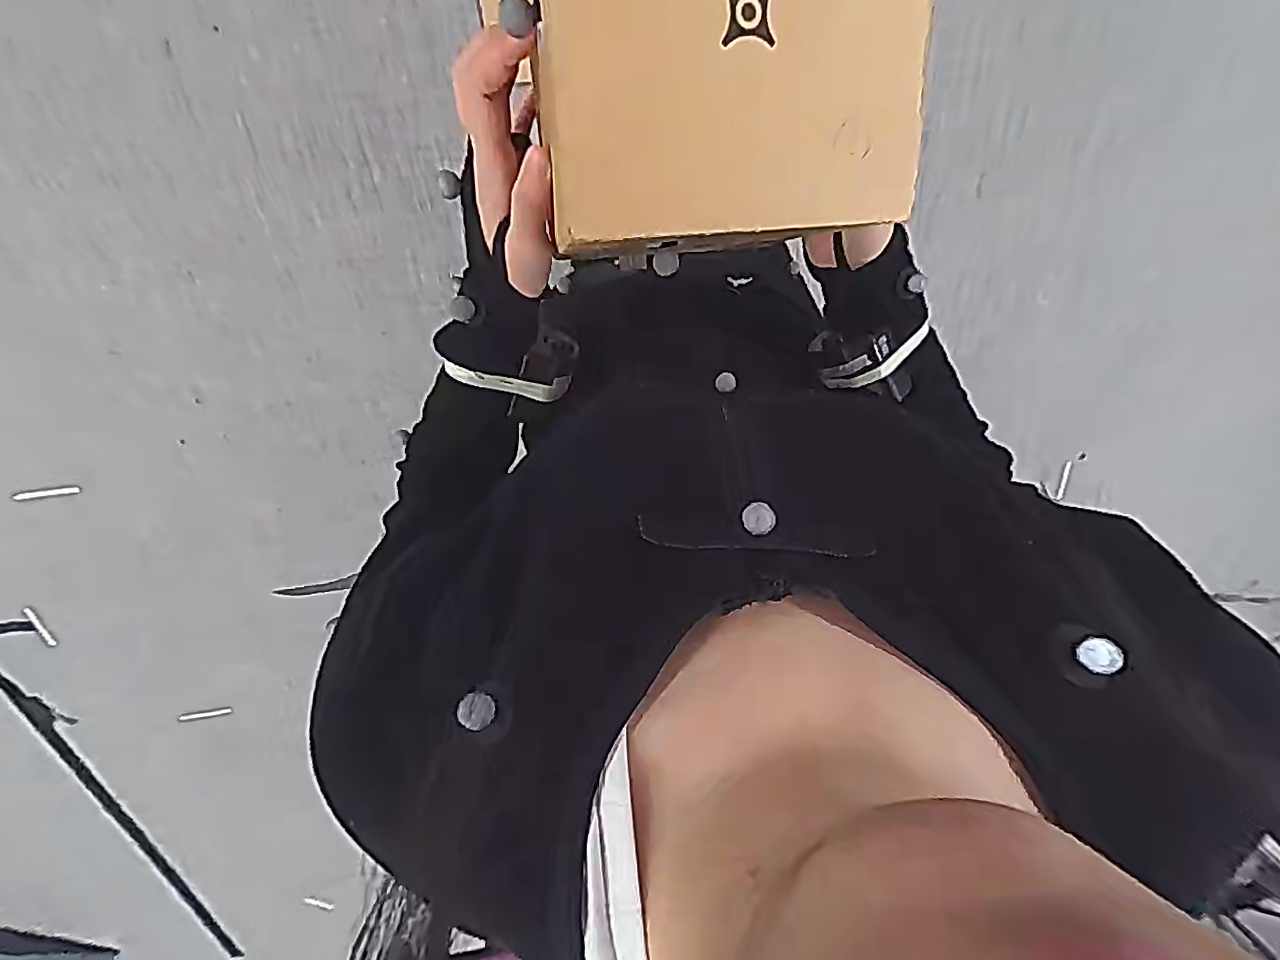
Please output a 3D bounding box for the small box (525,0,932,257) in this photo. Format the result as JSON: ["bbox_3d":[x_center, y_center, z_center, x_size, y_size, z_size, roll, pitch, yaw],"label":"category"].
[{"bbox_3d":[0.028,-0.219,0.291,0.168,0.176,0.179,-8,110,-8],"label":"small box"}]
